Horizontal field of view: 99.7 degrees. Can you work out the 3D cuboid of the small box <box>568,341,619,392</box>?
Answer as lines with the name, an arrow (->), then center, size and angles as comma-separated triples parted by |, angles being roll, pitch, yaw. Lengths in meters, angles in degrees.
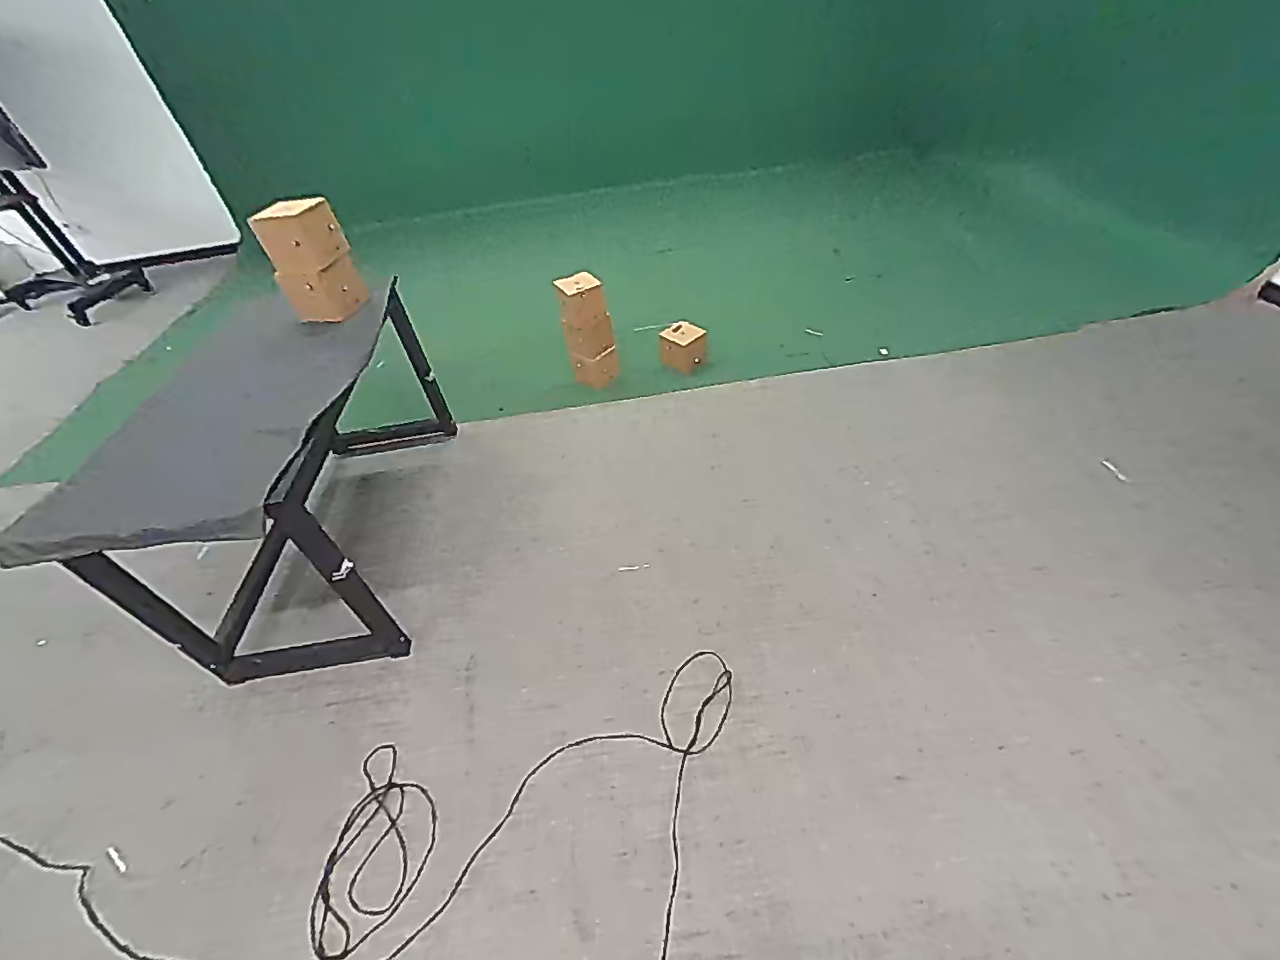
small box -> -0.225, -0.558, 2.682 | 0.179, 0.176, 0.168 | 26, 54, 32

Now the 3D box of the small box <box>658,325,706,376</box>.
small box -> 0.212, -0.645, 2.697 | 0.168, 0.176, 0.179 | -37, 51, -26

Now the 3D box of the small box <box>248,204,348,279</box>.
small box -> -1.084, -0.763, 1.734 | 0.179, 0.176, 0.168 | 0, 43, 13

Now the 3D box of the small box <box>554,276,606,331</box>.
small box -> -0.273, -0.805, 2.470 | 0.168, 0.176, 0.179 | -27, 46, -17

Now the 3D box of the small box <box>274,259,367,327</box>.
small box -> -1.071, -0.633, 1.832 | 0.179, 0.176, 0.168 | 3, 45, 16
